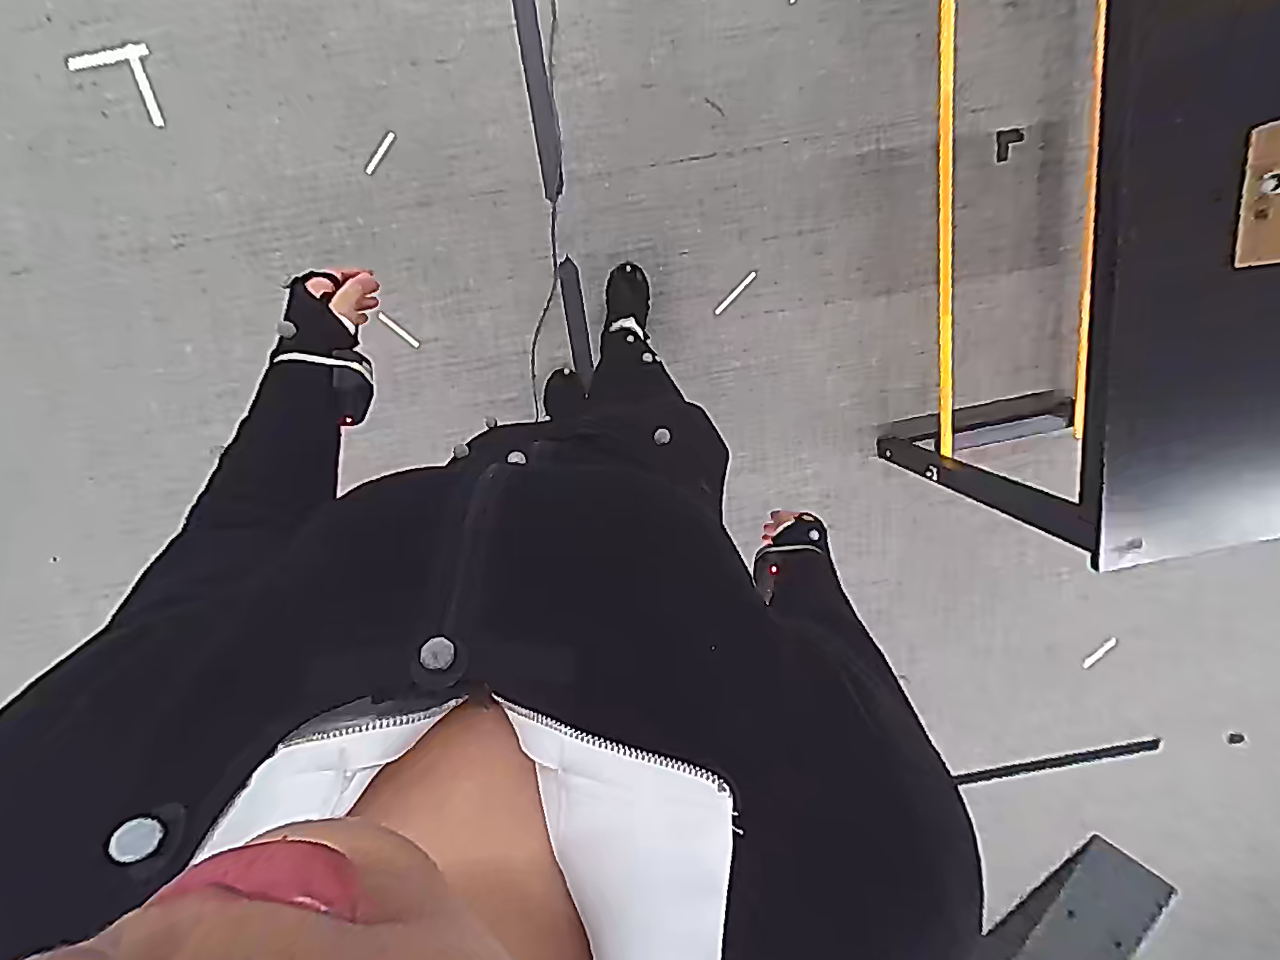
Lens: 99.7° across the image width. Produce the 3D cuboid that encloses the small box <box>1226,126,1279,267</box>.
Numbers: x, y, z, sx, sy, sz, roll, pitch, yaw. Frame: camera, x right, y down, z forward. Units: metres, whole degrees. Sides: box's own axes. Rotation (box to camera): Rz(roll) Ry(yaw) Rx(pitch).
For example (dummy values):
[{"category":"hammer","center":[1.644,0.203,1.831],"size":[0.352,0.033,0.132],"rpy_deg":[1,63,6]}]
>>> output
[{"category":"small box","center":[0.864,-0.356,0.629],"size":[0.179,0.176,0.168],"rpy_deg":[-11,105,0]}]
